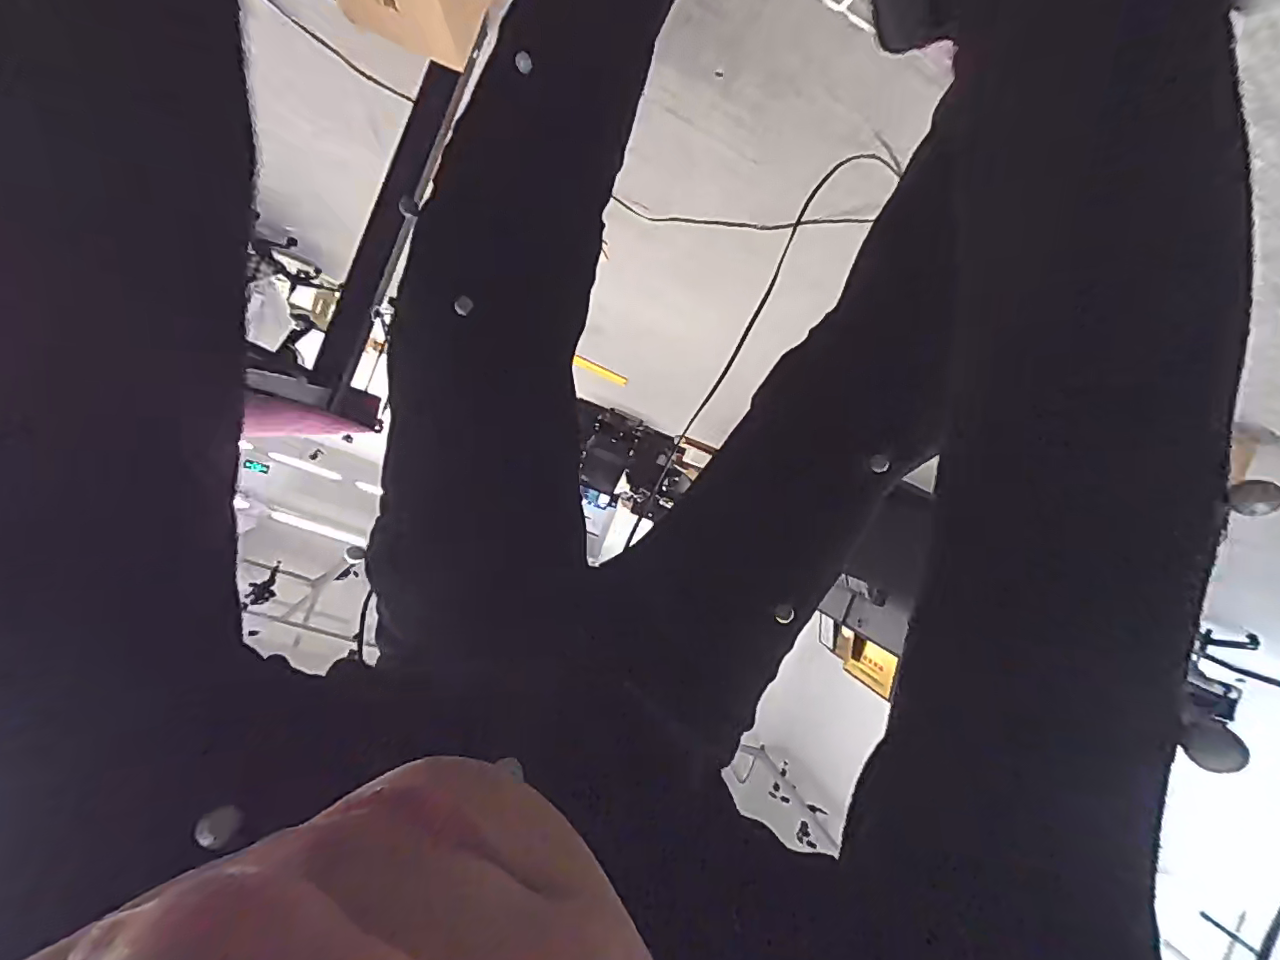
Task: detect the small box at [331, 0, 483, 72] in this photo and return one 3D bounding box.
[{"bbox_3d":[-0.298,-0.681,0.679,0.179,0.176,0.168,22,180,-6],"label":"small box"}]
